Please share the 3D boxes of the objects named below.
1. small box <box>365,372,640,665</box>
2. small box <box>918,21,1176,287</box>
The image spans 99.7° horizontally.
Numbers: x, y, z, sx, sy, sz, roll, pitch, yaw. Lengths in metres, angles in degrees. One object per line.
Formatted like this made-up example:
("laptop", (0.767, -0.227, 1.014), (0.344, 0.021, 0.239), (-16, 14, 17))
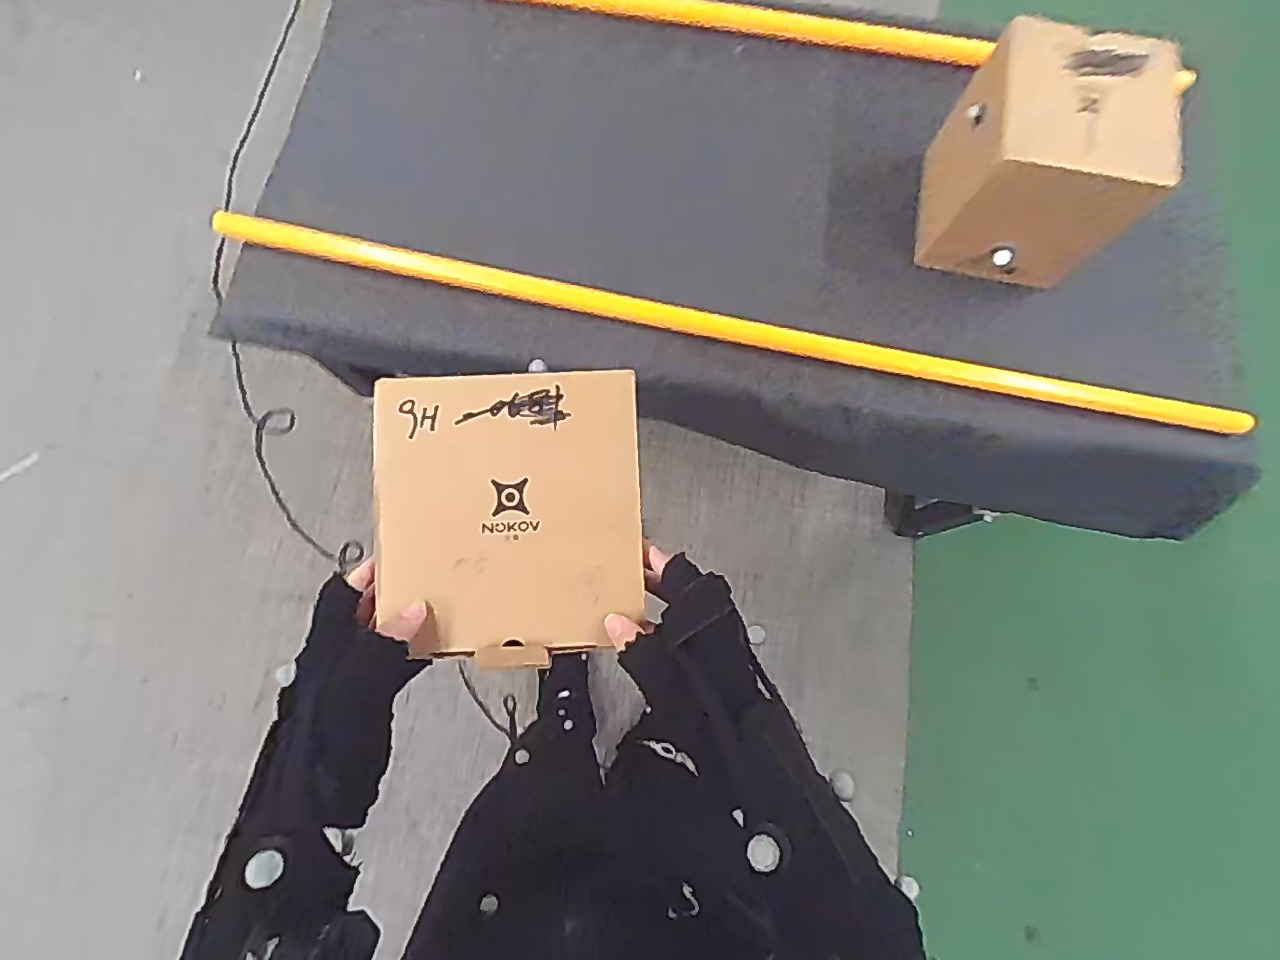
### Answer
("small box", (-0.089, 0.028, 0.423), (0.168, 0.176, 0.179), (-6, 85, -1))
("small box", (0.437, -0.351, 0.607), (0.168, 0.176, 0.179), (12, 77, 3))
